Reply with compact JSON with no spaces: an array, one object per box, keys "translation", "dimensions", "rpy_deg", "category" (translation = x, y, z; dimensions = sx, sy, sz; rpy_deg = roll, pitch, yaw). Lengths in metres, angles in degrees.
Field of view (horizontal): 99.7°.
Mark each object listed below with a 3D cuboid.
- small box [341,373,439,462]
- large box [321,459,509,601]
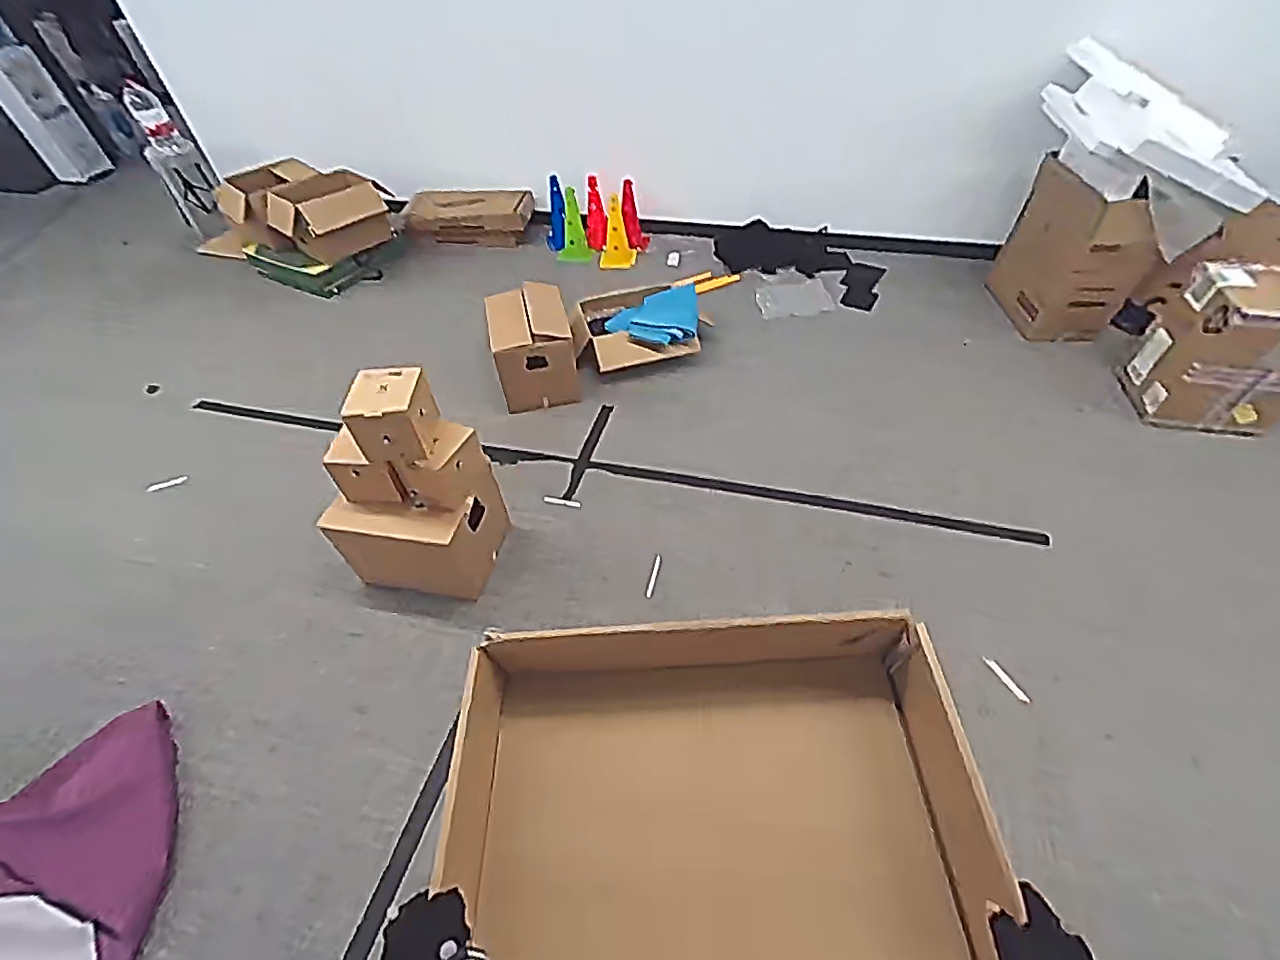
[{"translation":[-0.647,-0.160,1.428],"dimensions":[0.168,0.176,0.179],"rpy_deg":[-3,49,-1],"category":"small box"},{"translation":[-0.674,0.153,1.695],"dimensions":[0.408,0.320,0.320],"rpy_deg":[7,50,7],"category":"large box"}]
